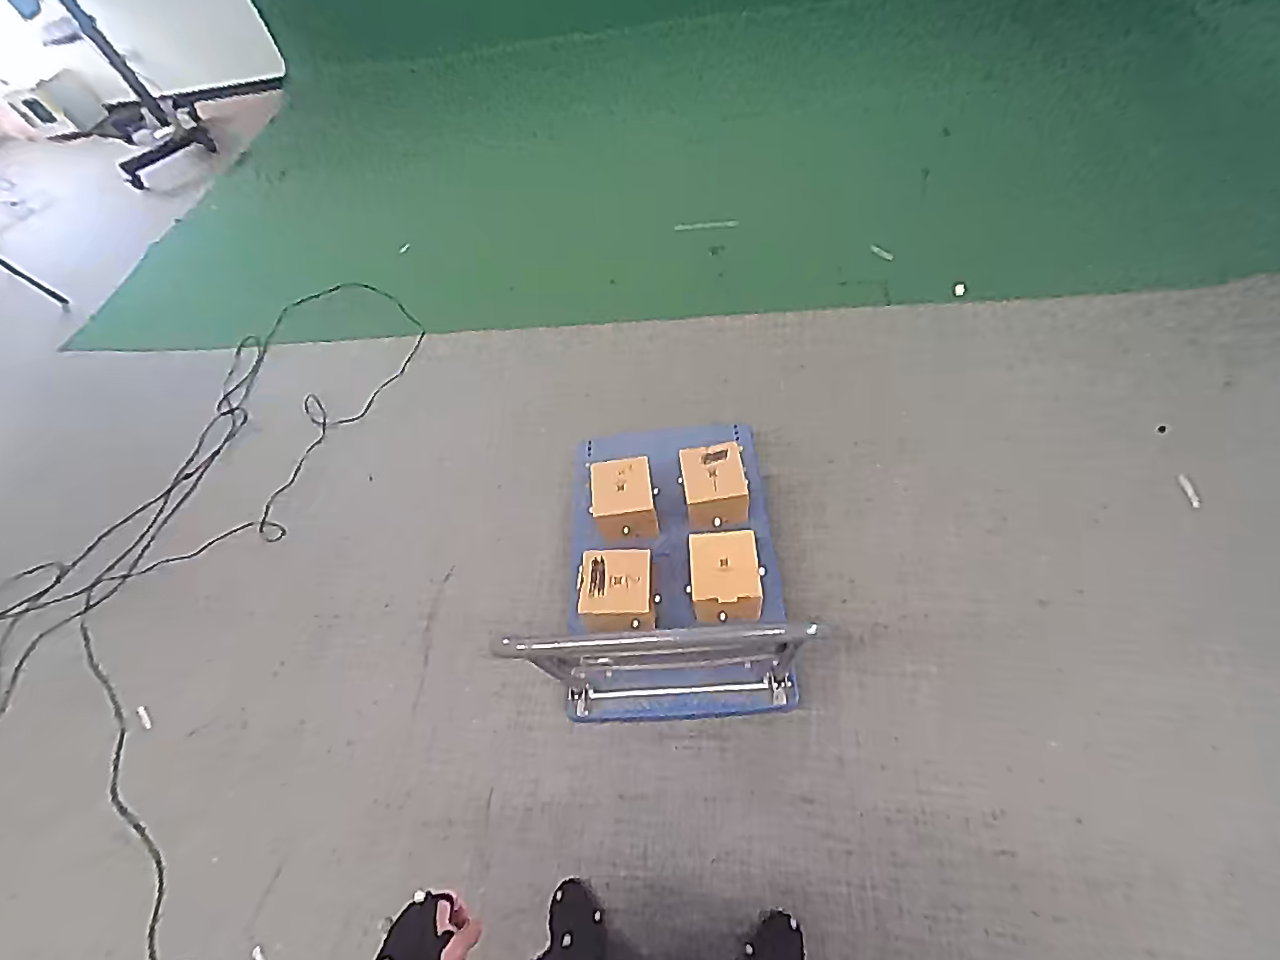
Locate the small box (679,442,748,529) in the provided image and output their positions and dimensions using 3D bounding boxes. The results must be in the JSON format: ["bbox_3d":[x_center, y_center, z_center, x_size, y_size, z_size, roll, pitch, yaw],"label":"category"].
[{"bbox_3d":[0.206,0.019,1.528,0.168,0.176,0.179,-9,58,5],"label":"small box"}]

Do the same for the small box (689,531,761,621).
[{"bbox_3d":[0.213,0.248,1.386,0.168,0.176,0.179,-4,58,6],"label":"small box"}]

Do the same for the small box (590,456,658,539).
[{"bbox_3d":[-0.044,0.057,1.545,0.168,0.176,0.179,-8,57,3],"label":"small box"}]
